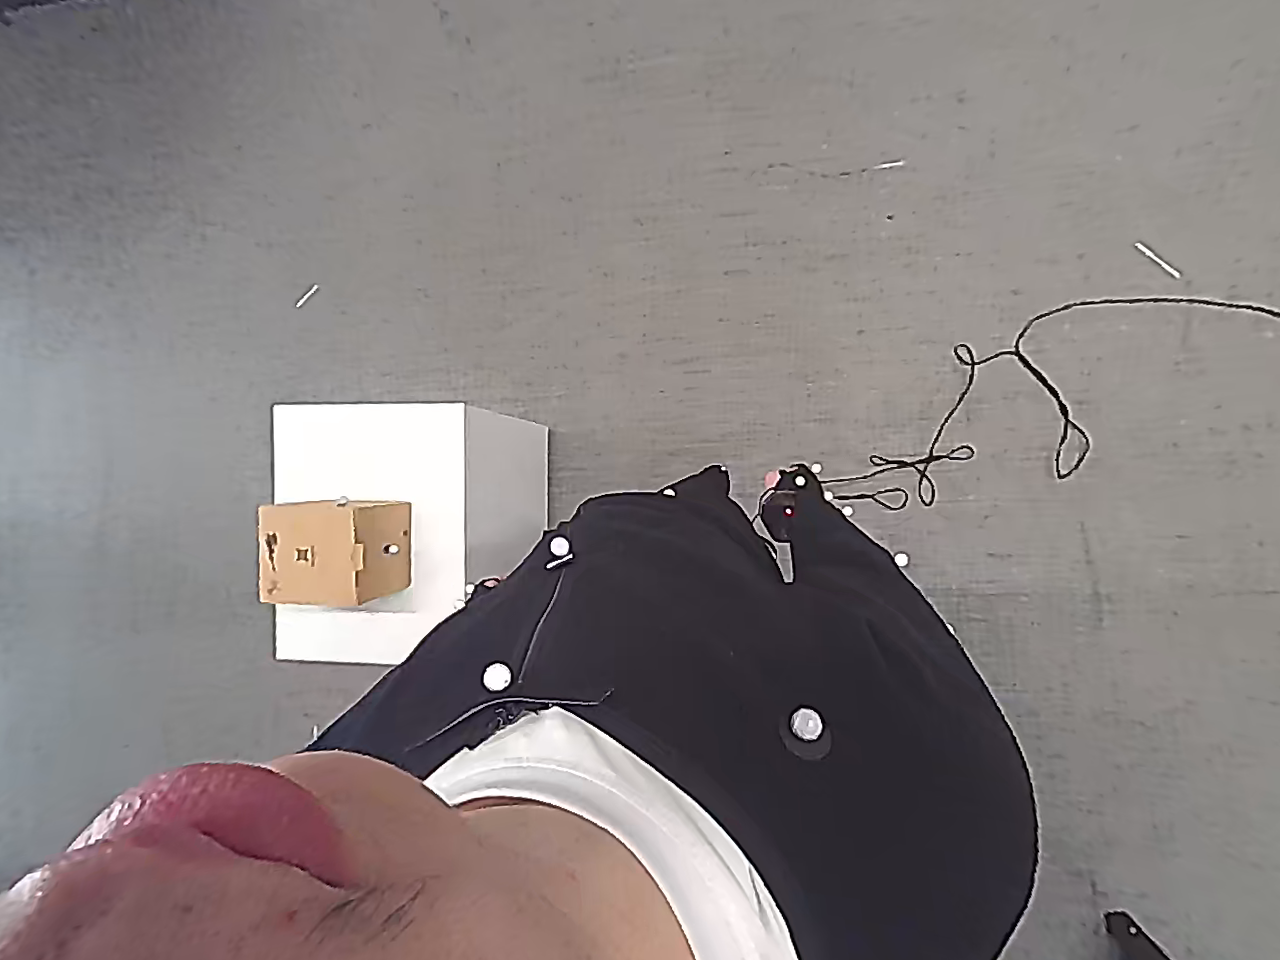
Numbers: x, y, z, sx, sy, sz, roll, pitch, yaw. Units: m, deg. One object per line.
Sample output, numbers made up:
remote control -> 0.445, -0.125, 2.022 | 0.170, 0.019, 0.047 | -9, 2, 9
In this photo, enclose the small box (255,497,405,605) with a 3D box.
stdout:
small box -> -0.538, 0.120, 0.964 | 0.179, 0.176, 0.168 | -2, 92, 7
